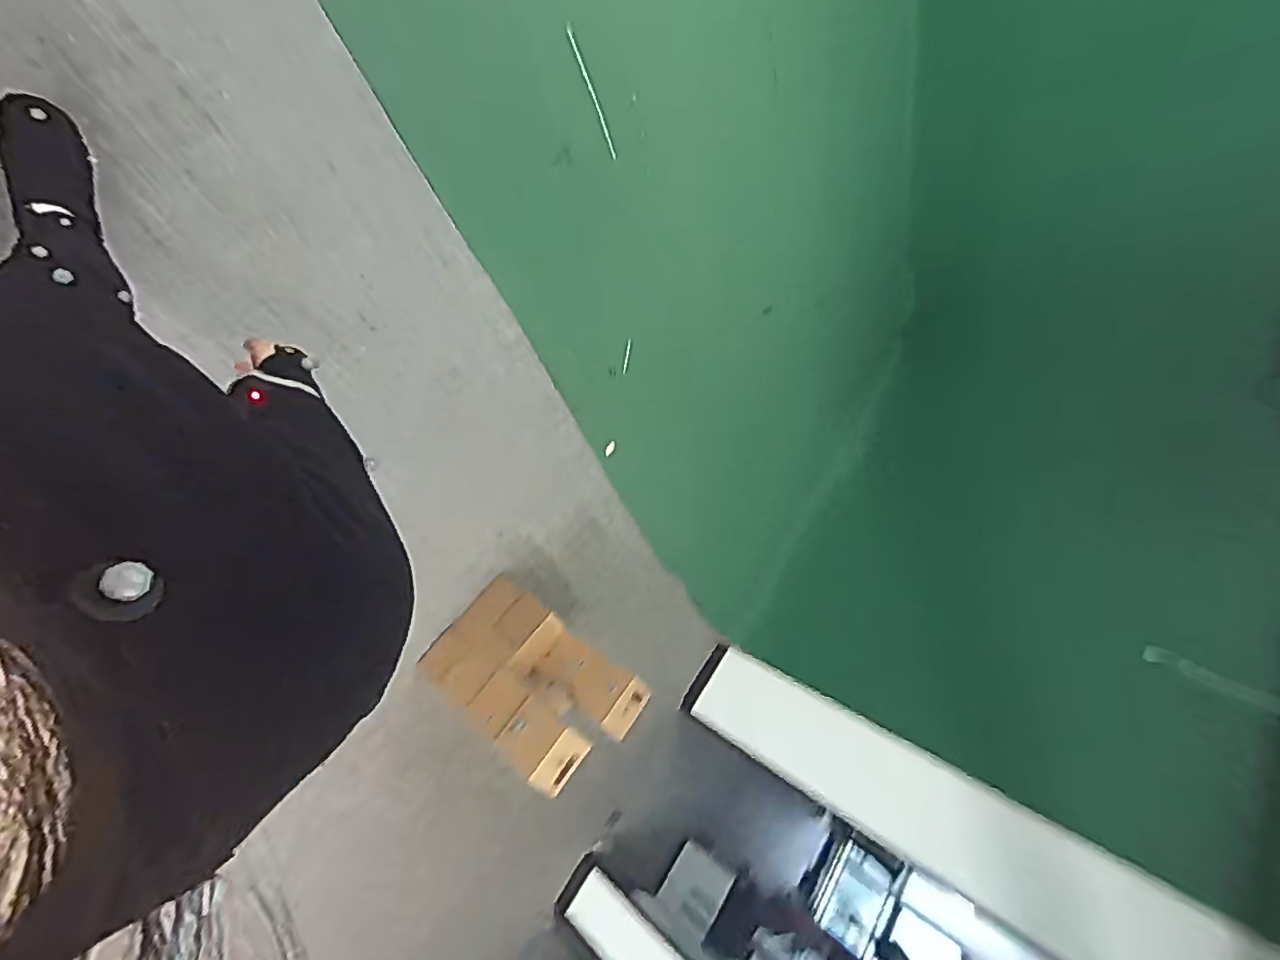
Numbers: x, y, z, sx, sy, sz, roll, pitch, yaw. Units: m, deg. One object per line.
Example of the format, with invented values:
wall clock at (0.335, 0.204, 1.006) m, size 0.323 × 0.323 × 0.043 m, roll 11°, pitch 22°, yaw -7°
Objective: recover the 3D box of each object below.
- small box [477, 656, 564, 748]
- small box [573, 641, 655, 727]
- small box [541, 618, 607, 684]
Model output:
small box at (-0.377, 0.684, 1.675) m, size 0.179 × 0.176 × 0.168 m, roll -51°, pitch 140°, yaw -21°
small box at (-0.083, 0.653, 1.745) m, size 0.179 × 0.176 × 0.168 m, roll -52°, pitch 140°, yaw -23°
small box at (-0.203, 0.603, 1.850) m, size 0.168 × 0.176 × 0.179 m, roll -50°, pitch 140°, yaw -23°
